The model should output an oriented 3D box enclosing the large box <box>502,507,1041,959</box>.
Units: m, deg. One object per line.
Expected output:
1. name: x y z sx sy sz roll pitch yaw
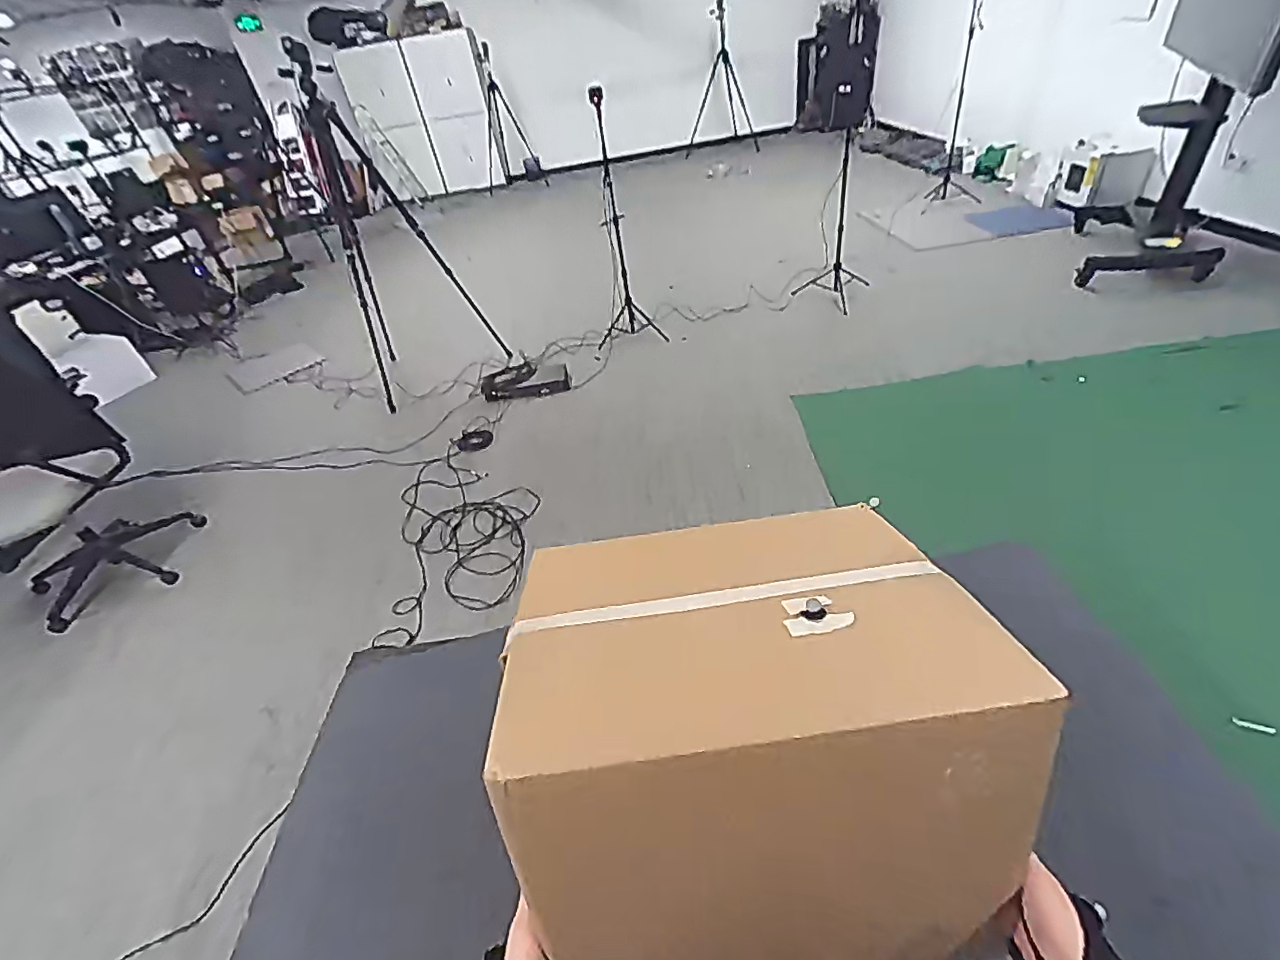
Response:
1. large box: 0.102 0.255 0.576 0.408 0.320 0.320 -8 24 -1
